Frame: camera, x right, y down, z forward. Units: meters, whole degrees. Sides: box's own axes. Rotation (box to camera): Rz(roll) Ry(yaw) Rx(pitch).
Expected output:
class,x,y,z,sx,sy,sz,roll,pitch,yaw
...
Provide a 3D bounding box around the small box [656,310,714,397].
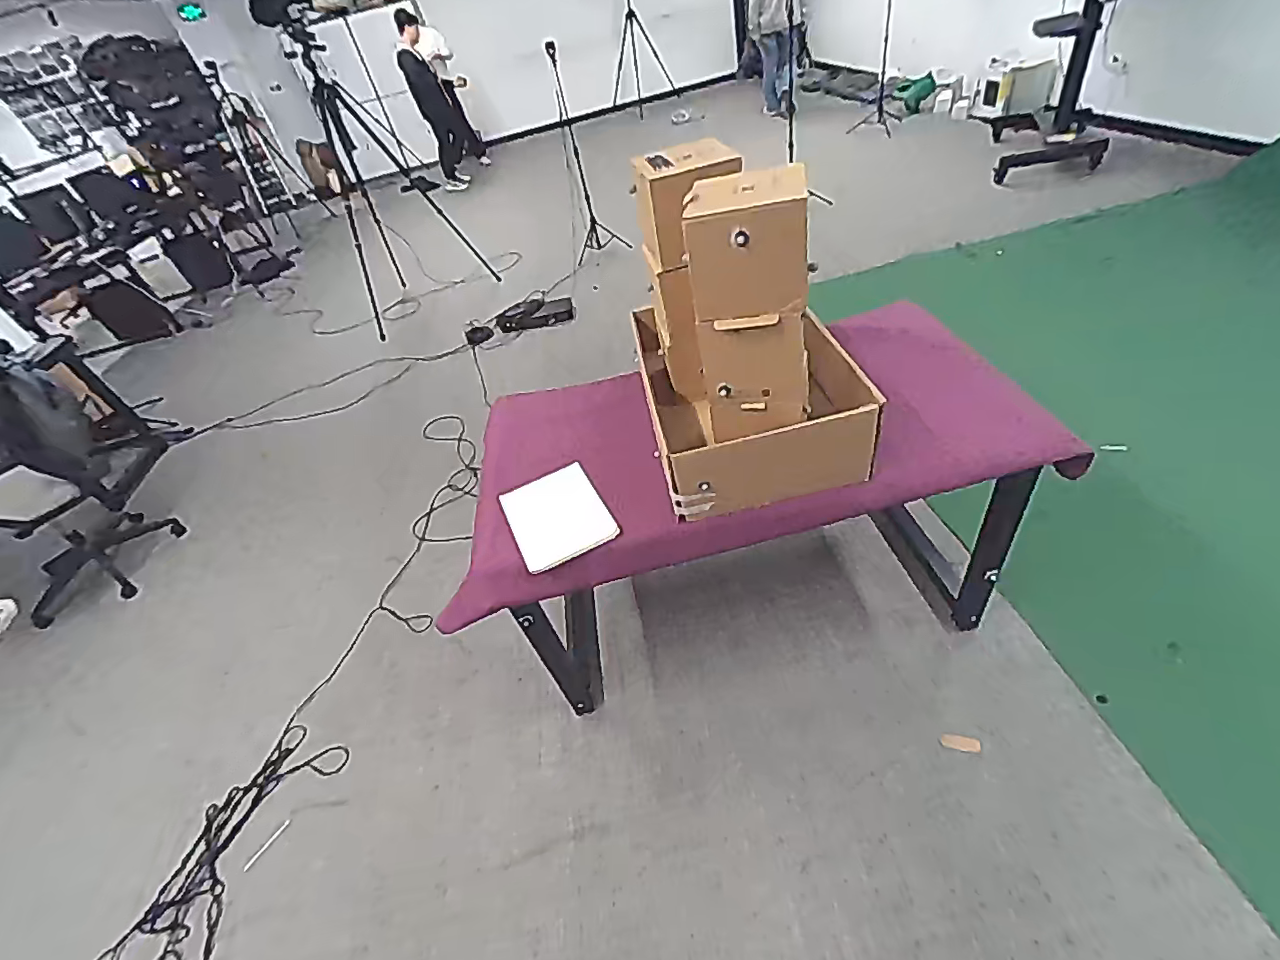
class,x,y,z,sx,sy,sz,roll,pitch,yaw
small box,0.142,-0.314,1.290,0.168,0.176,0.179,-13,44,3

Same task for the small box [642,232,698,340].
class,x,y,z,sx,sy,sz,roll,pitch,yaw
small box,0.116,-0.426,1.176,0.179,0.176,0.168,-15,44,0

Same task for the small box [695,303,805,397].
class,x,y,z,sx,sy,sz,roll,pitch,yaw
small box,0.205,-0.260,0.965,0.168,0.176,0.179,0,44,19

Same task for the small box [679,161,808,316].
class,x,y,z,sx,sy,sz,roll,pitch,yaw
small box,0.171,-0.374,0.854,0.179,0.176,0.168,-1,44,17
